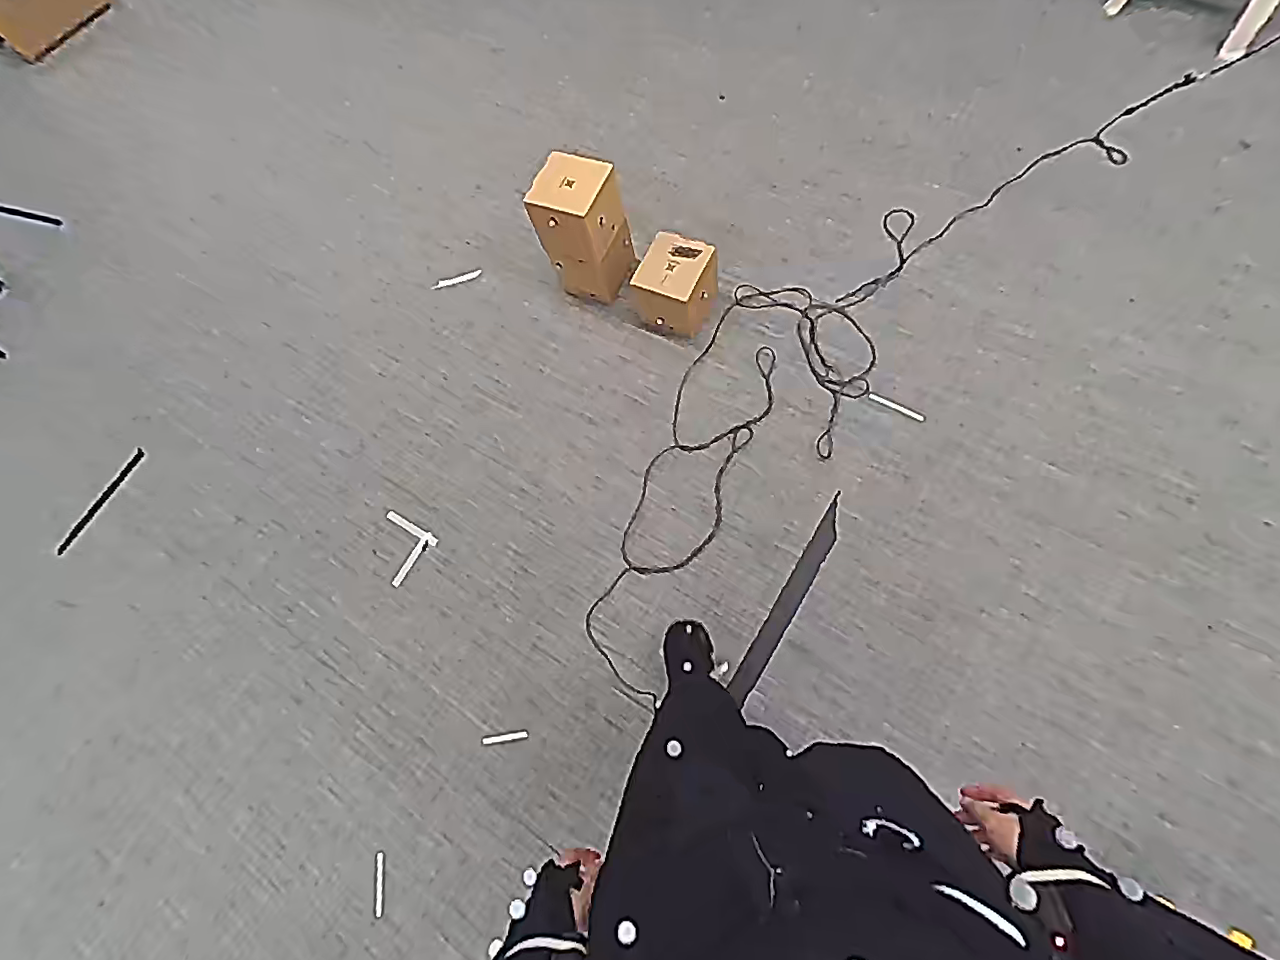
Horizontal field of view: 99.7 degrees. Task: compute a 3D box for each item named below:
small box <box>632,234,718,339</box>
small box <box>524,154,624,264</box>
[{"bbox_3d":[0.099,-0.512,1.441,0.168,0.176,0.179,24,78,17],"label":"small box"},{"bbox_3d":[-0.158,-0.680,1.370,0.179,0.176,0.168,21,76,16],"label":"small box"}]
